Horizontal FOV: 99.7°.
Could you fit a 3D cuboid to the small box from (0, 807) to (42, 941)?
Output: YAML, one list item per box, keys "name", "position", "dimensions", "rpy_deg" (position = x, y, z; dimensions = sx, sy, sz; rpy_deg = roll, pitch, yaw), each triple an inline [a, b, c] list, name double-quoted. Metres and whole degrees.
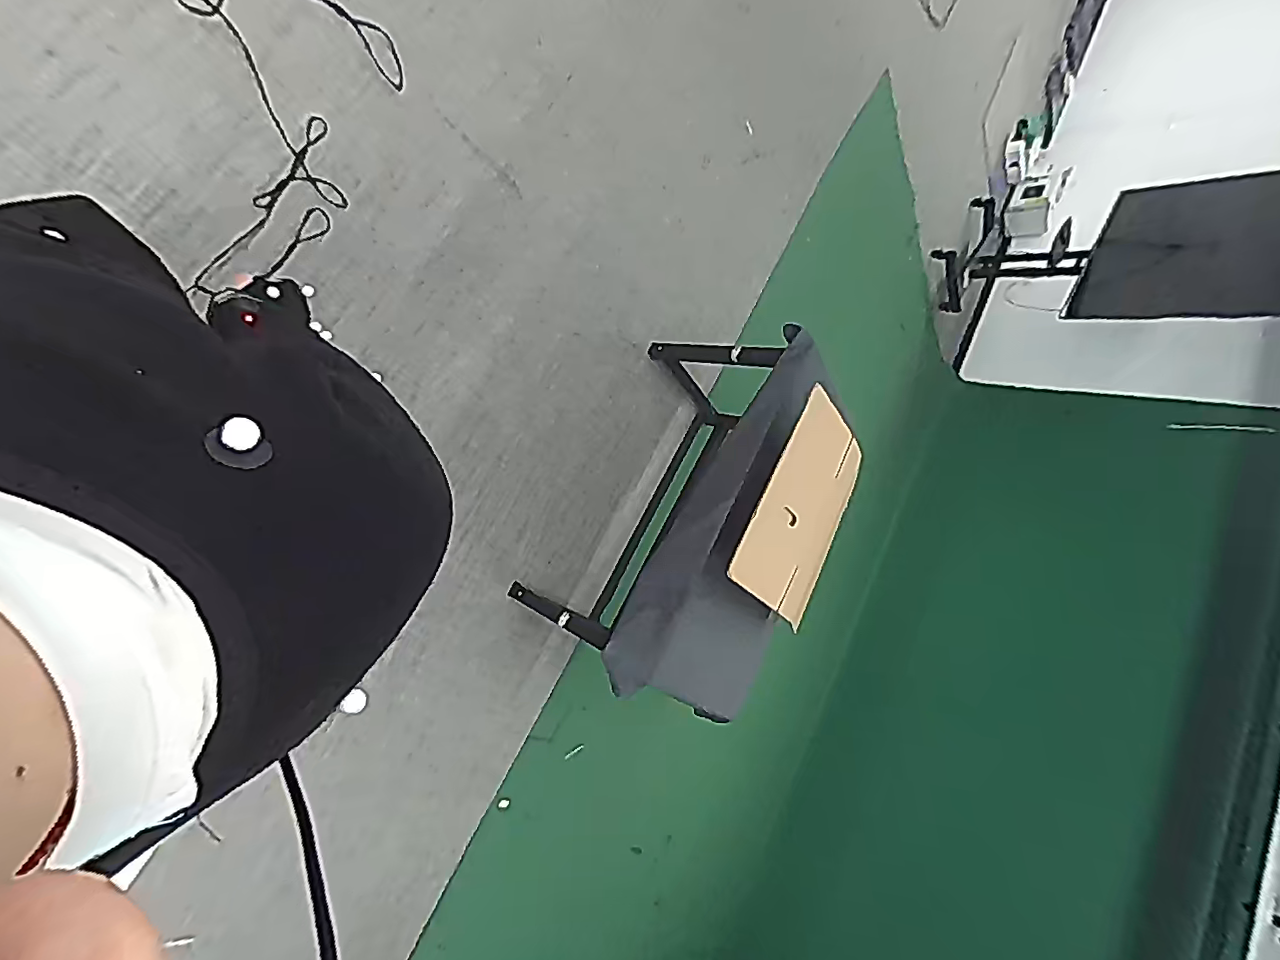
- name: "small box"
  position: [-0.863, 0.503, 0.626]
  dimensions: [0.168, 0.176, 0.179]
  rpy_deg: [43, 70, -46]
